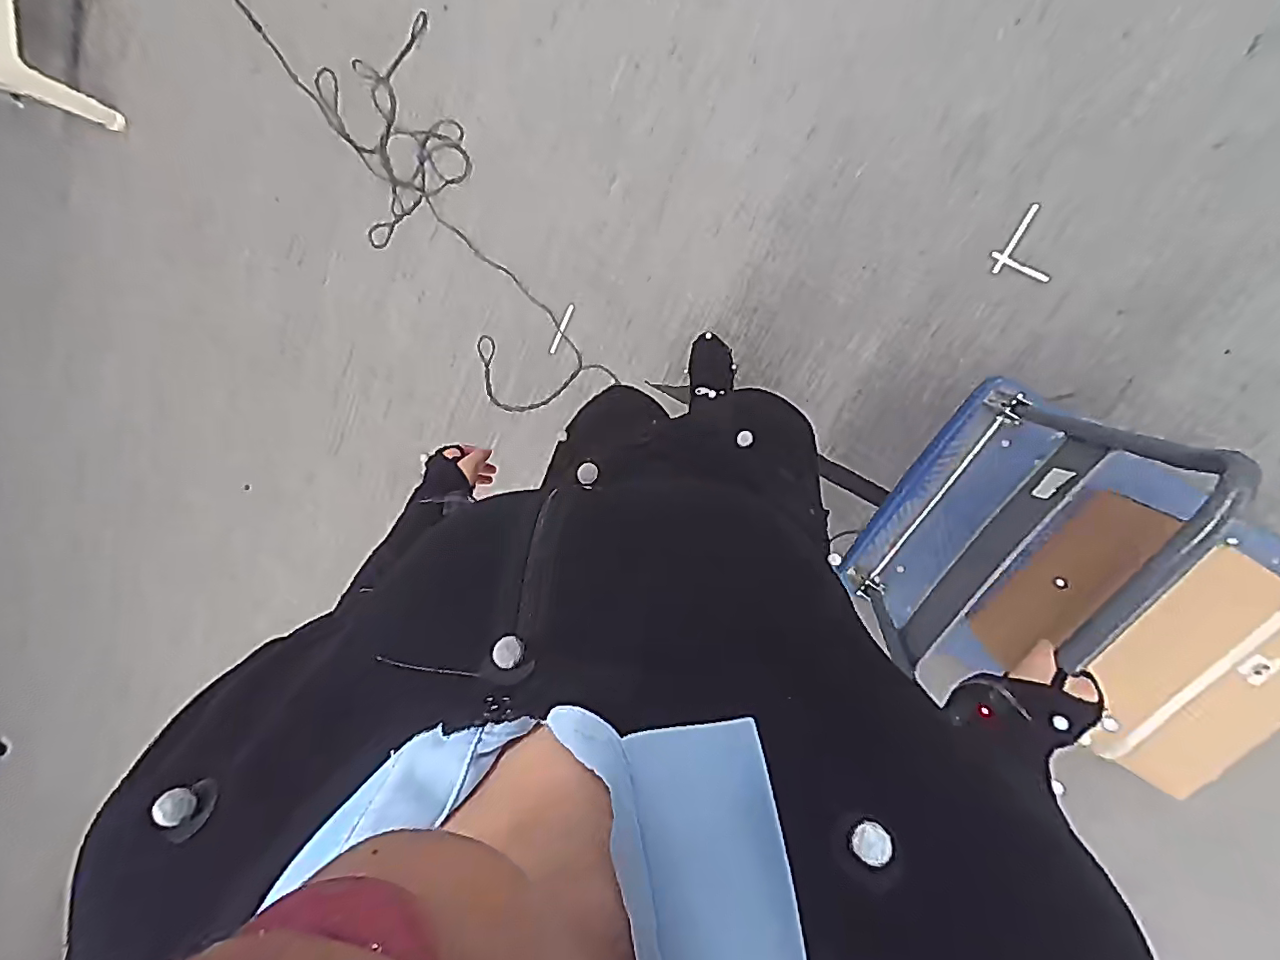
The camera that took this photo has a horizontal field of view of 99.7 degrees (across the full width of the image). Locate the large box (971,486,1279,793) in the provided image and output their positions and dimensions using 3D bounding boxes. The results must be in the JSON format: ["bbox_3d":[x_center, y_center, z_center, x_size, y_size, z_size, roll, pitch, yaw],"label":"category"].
[{"bbox_3d":[0.954,0.282,1.046,0.320,0.320,0.408,32,107,1],"label":"large box"}]
